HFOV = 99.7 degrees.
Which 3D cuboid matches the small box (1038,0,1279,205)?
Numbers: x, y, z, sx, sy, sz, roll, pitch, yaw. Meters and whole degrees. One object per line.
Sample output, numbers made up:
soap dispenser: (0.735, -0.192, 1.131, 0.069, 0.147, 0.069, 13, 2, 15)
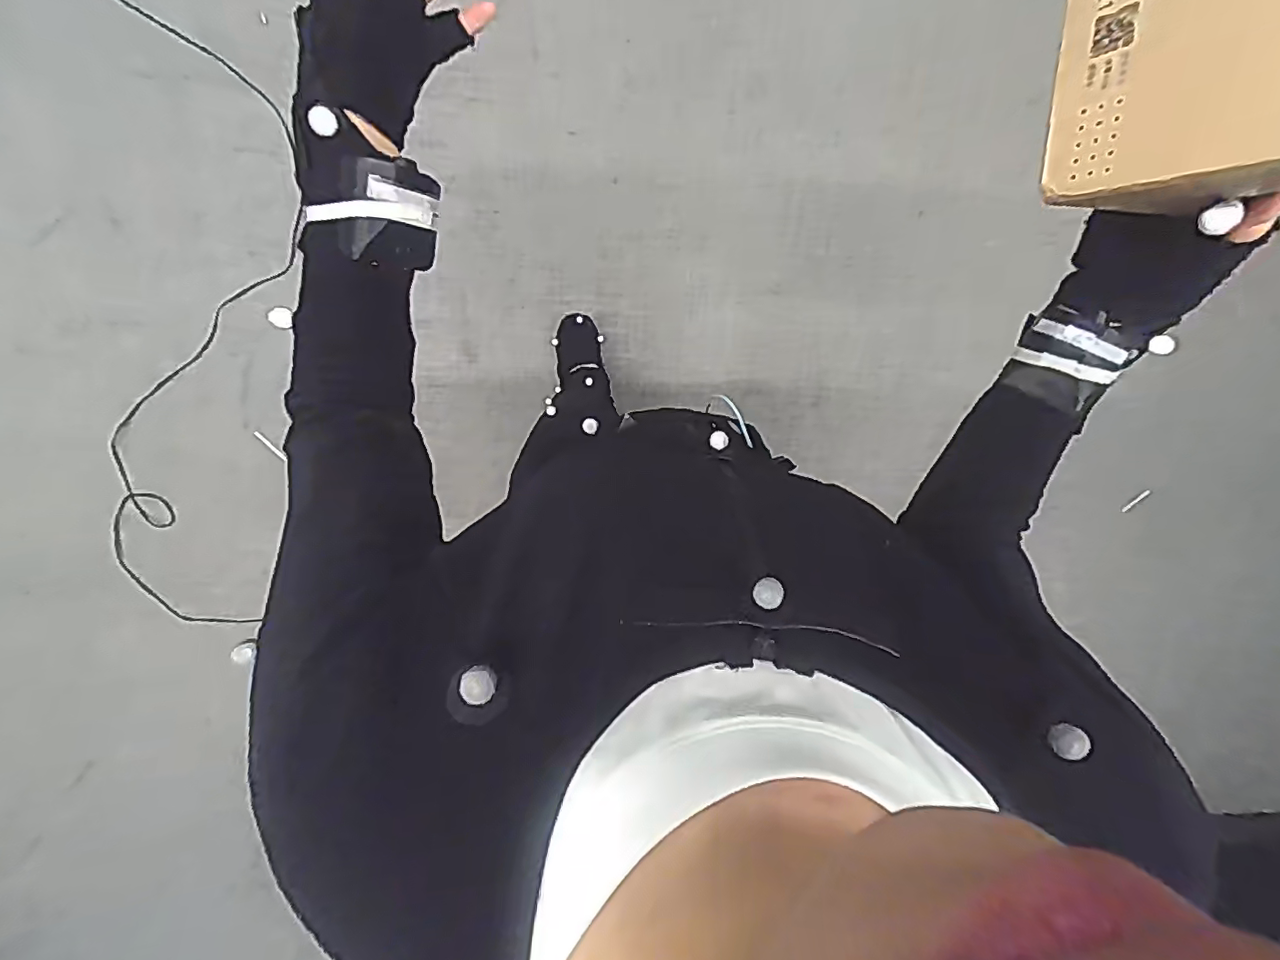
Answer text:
small box: (0.292, -0.208, 0.198, 0.179, 0.176, 0.168, -13, 109, -27)
